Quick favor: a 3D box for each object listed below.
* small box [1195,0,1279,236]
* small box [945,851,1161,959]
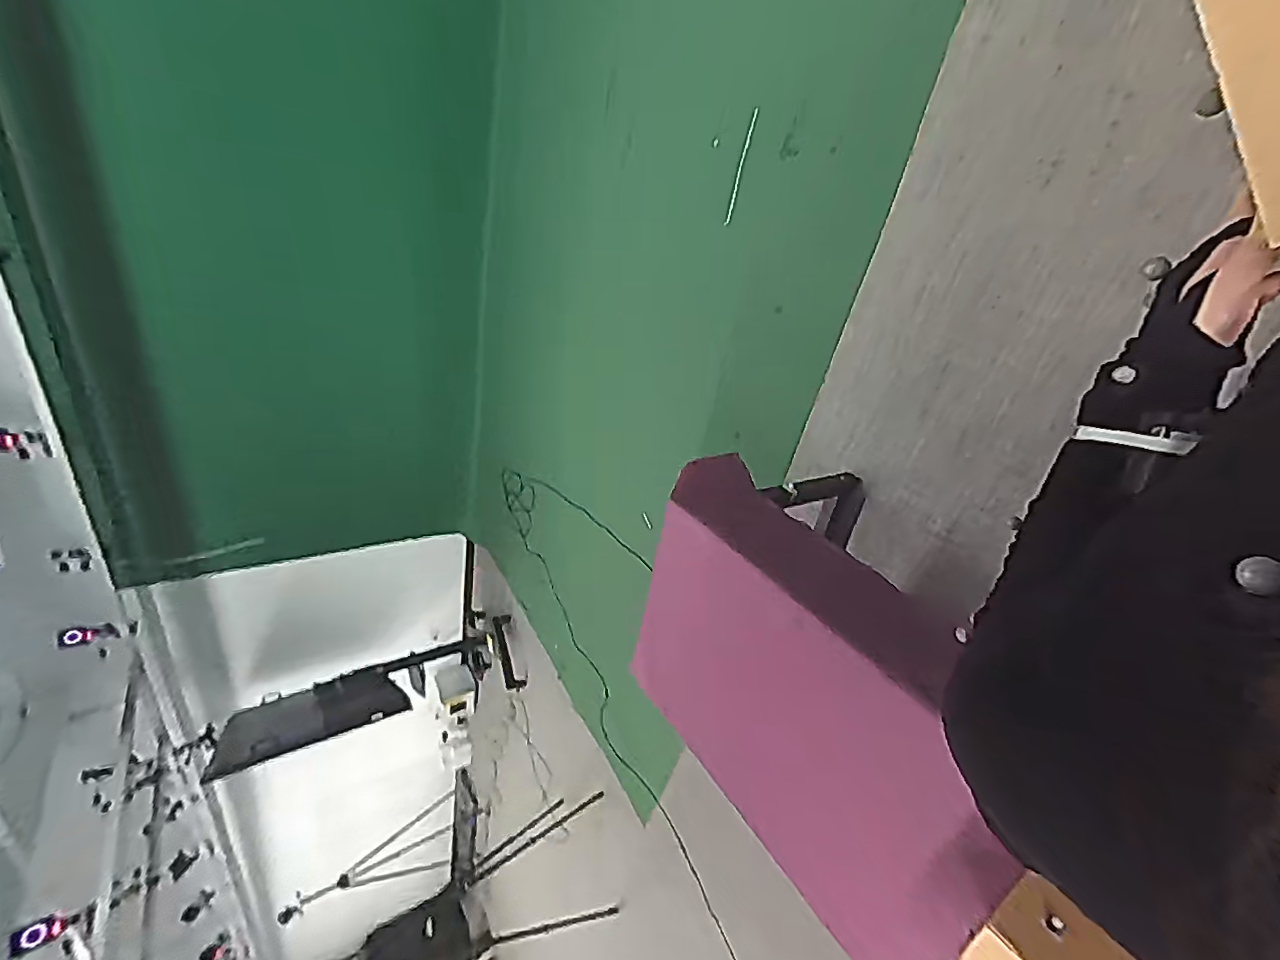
[{"bbox_3d":[0.413,-0.231,0.257,0.179,0.176,0.168,-16,88,53],"label":"small box"},{"bbox_3d":[0.524,0.630,0.691,0.168,0.176,0.179,38,128,45],"label":"small box"}]
